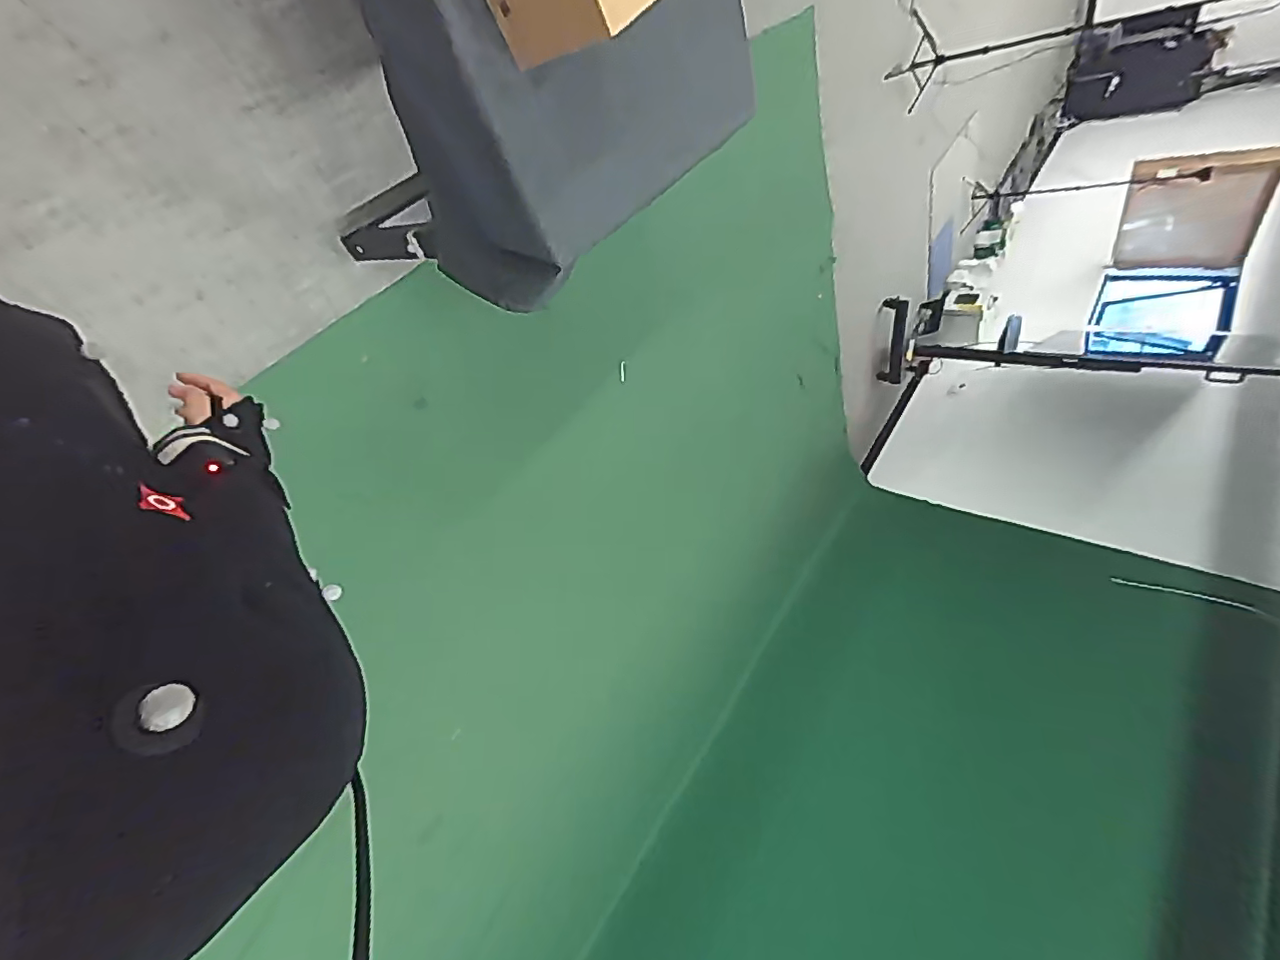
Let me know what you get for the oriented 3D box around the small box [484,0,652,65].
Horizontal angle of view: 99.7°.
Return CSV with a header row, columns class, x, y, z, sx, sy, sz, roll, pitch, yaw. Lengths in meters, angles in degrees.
class,x,y,z,sx,sy,sz,roll,pitch,yaw
small box,-0.080,-0.616,0.611,0.179,0.176,0.168,-55,139,-20
